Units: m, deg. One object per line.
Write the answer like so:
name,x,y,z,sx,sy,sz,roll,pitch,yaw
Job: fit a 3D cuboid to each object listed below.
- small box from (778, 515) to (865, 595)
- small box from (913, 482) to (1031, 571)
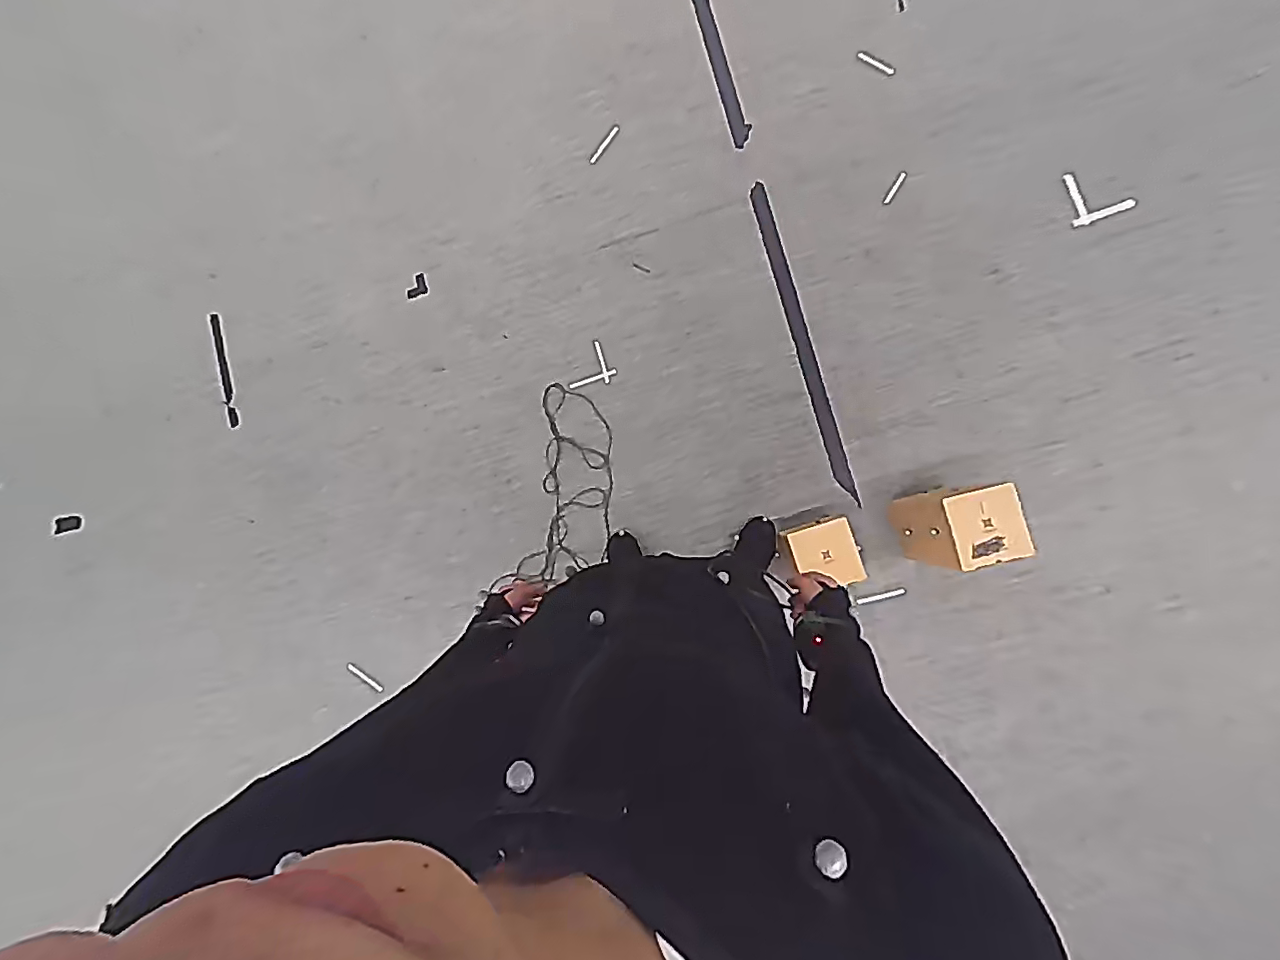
small box,0.500,0.206,1.515,0.168,0.176,0.179,-19,86,5
small box,0.801,0.110,1.321,0.168,0.176,0.179,-15,85,4
